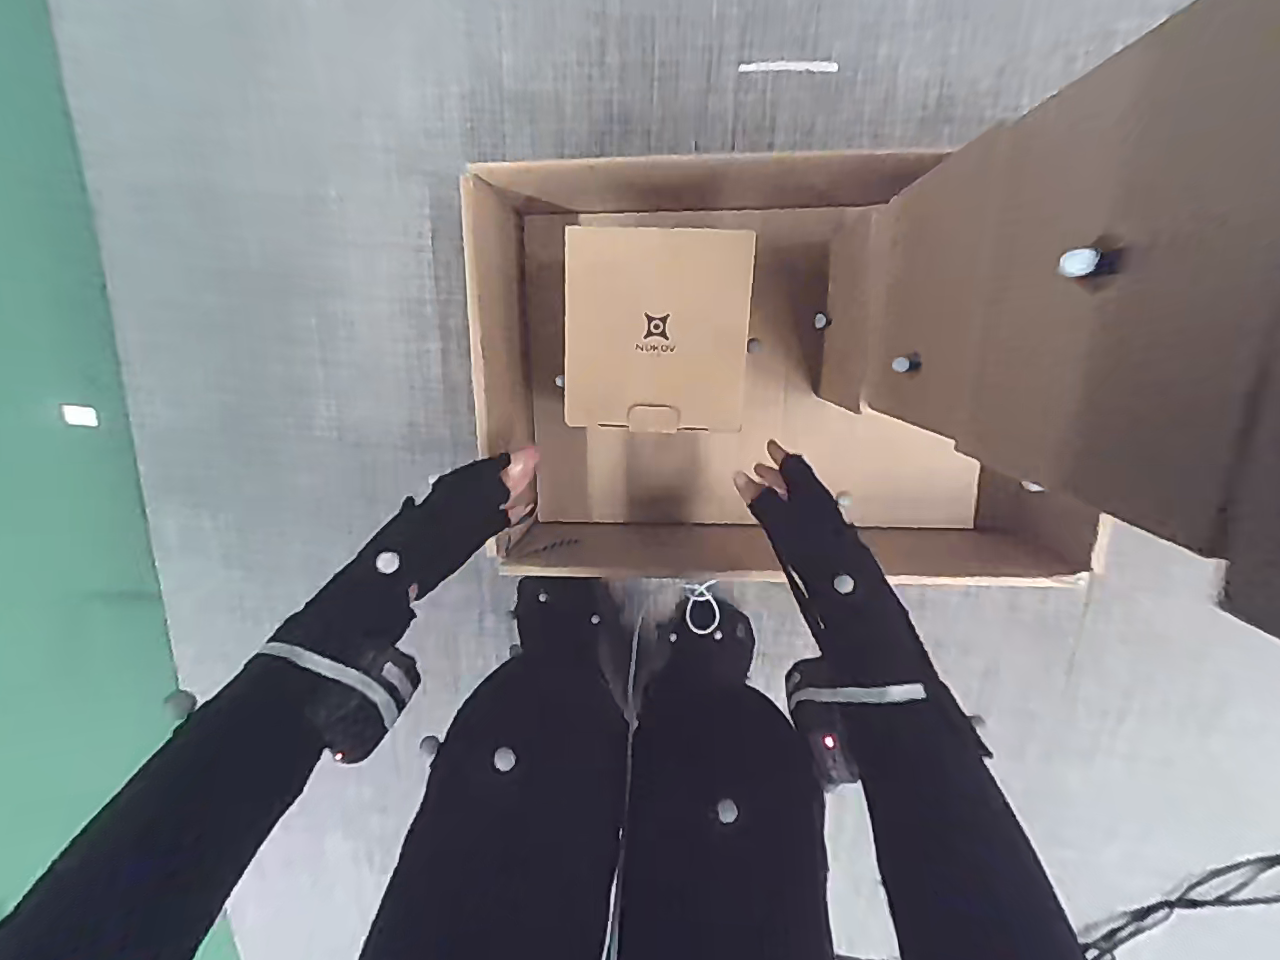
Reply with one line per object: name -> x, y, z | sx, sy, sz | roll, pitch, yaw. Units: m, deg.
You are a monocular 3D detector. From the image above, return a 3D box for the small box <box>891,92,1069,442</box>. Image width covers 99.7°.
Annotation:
small box -> 0.282, -0.125, 0.356 | 0.168, 0.176, 0.179 | 1, 105, 5

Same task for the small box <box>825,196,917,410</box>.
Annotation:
small box -> 0.285, -0.170, 0.532 | 0.168, 0.176, 0.179 | -3, 104, 7

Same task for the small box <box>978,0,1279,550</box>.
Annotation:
small box -> 0.268, -0.080, 0.216 | 0.168, 0.176, 0.179 | 2, 105, 4
